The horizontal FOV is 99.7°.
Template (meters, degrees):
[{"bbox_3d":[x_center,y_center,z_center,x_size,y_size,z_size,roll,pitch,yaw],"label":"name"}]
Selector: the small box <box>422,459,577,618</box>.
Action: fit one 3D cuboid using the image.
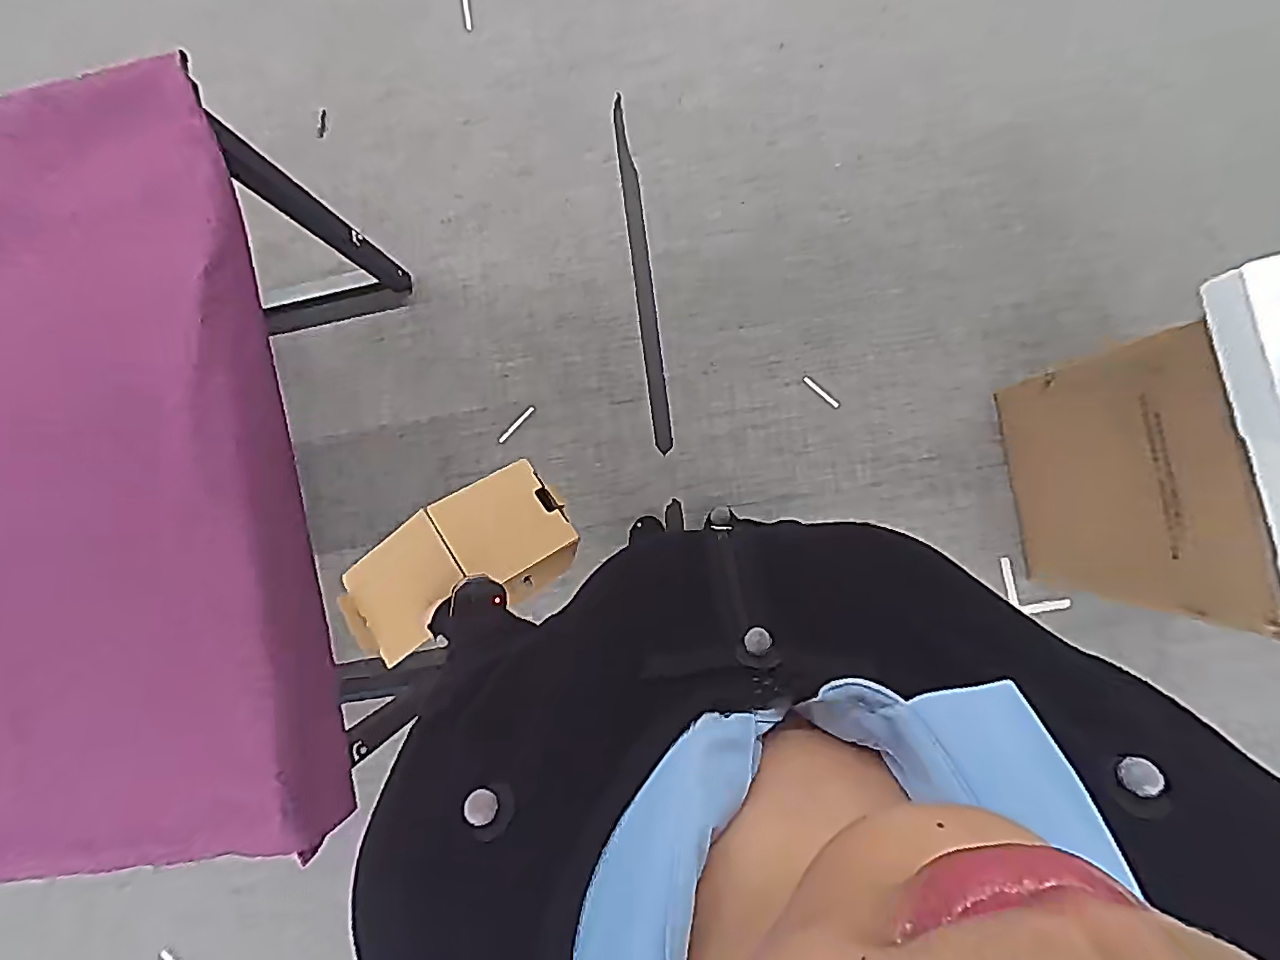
[{"bbox_3d":[-0.222,0.102,0.879,0.179,0.176,0.168,-31,75,-23],"label":"small box"}]
